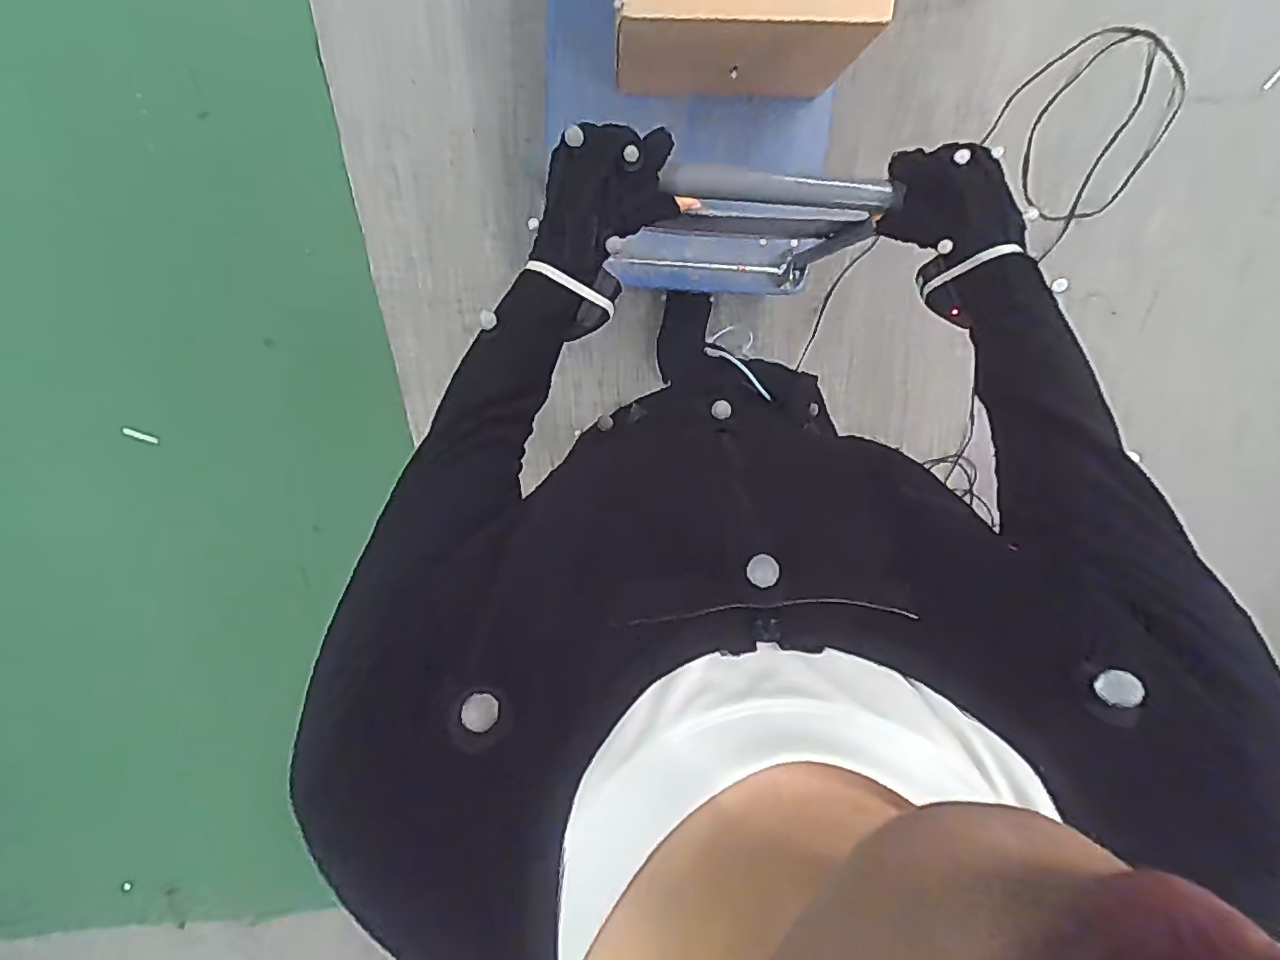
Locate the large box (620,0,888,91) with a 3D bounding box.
[{"bbox_3d":[0.166,-0.880,0.900,0.408,0.320,0.320,-1,108,-1],"label":"large box"}]
